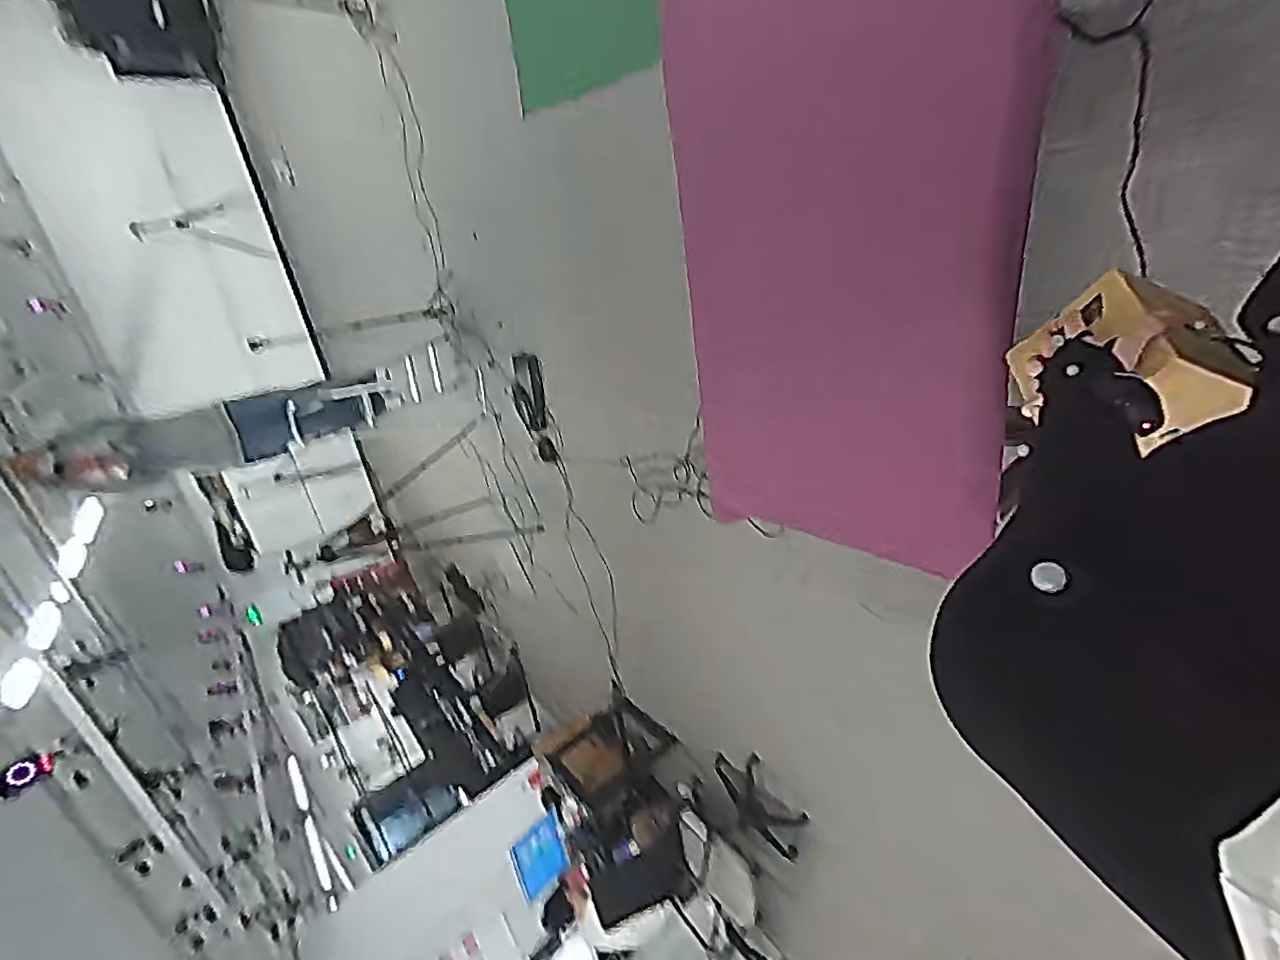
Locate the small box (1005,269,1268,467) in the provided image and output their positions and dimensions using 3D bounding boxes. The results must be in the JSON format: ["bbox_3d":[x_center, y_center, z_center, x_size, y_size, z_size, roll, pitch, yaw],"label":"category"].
[{"bbox_3d":[0.651,-0.142,0.728,0.168,0.176,0.179,122,156,-52],"label":"small box"}]
